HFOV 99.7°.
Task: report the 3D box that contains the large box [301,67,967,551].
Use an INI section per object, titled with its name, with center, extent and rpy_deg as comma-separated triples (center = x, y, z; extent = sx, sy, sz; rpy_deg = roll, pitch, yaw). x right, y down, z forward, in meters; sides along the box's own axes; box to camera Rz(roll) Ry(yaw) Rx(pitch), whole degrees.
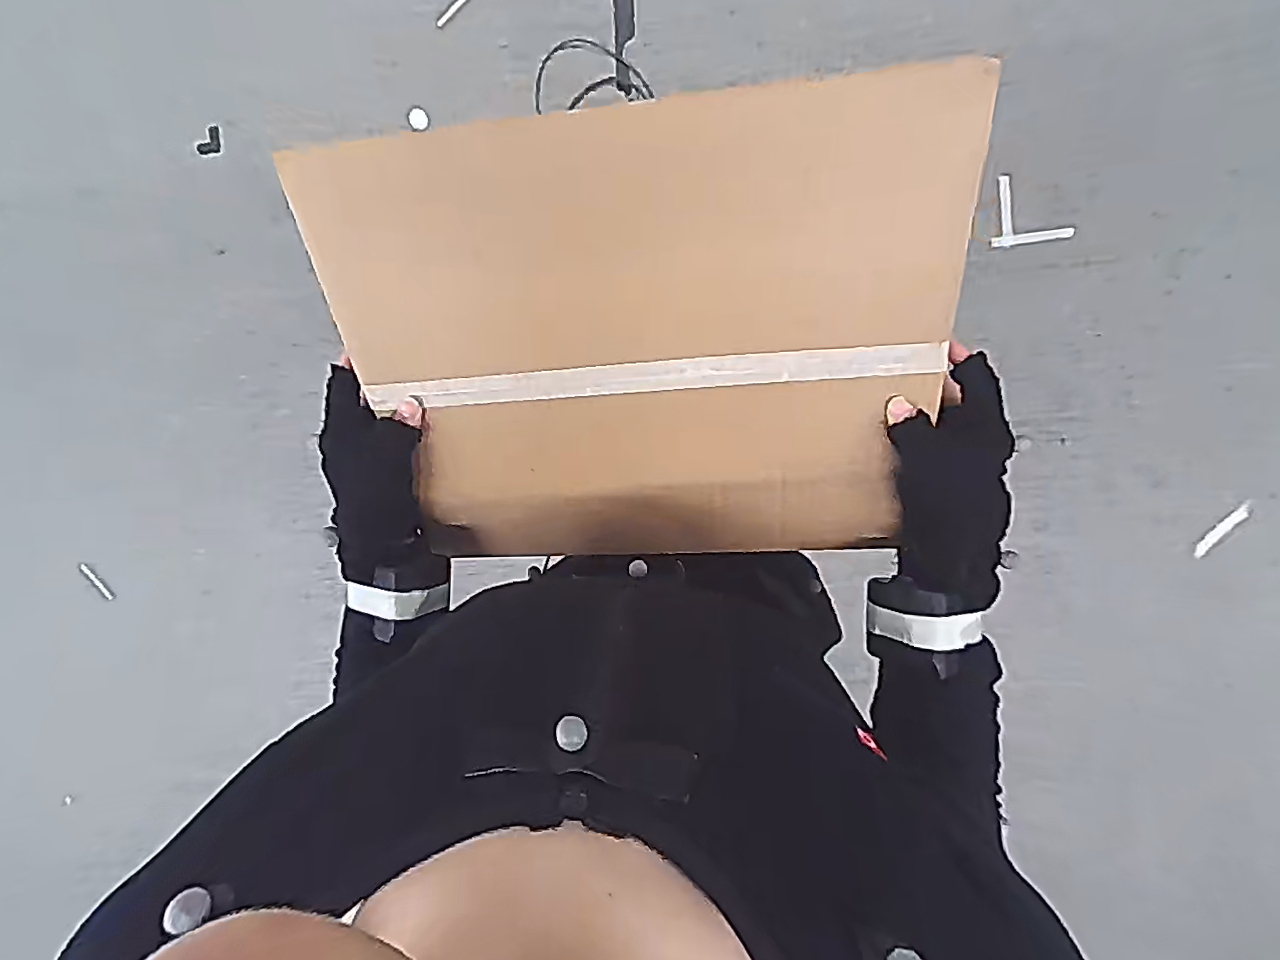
[large box]
center = 0.008, -0.153, 0.514
extent = 0.408, 0.320, 0.320
rpy_deg = -2, 122, 8
